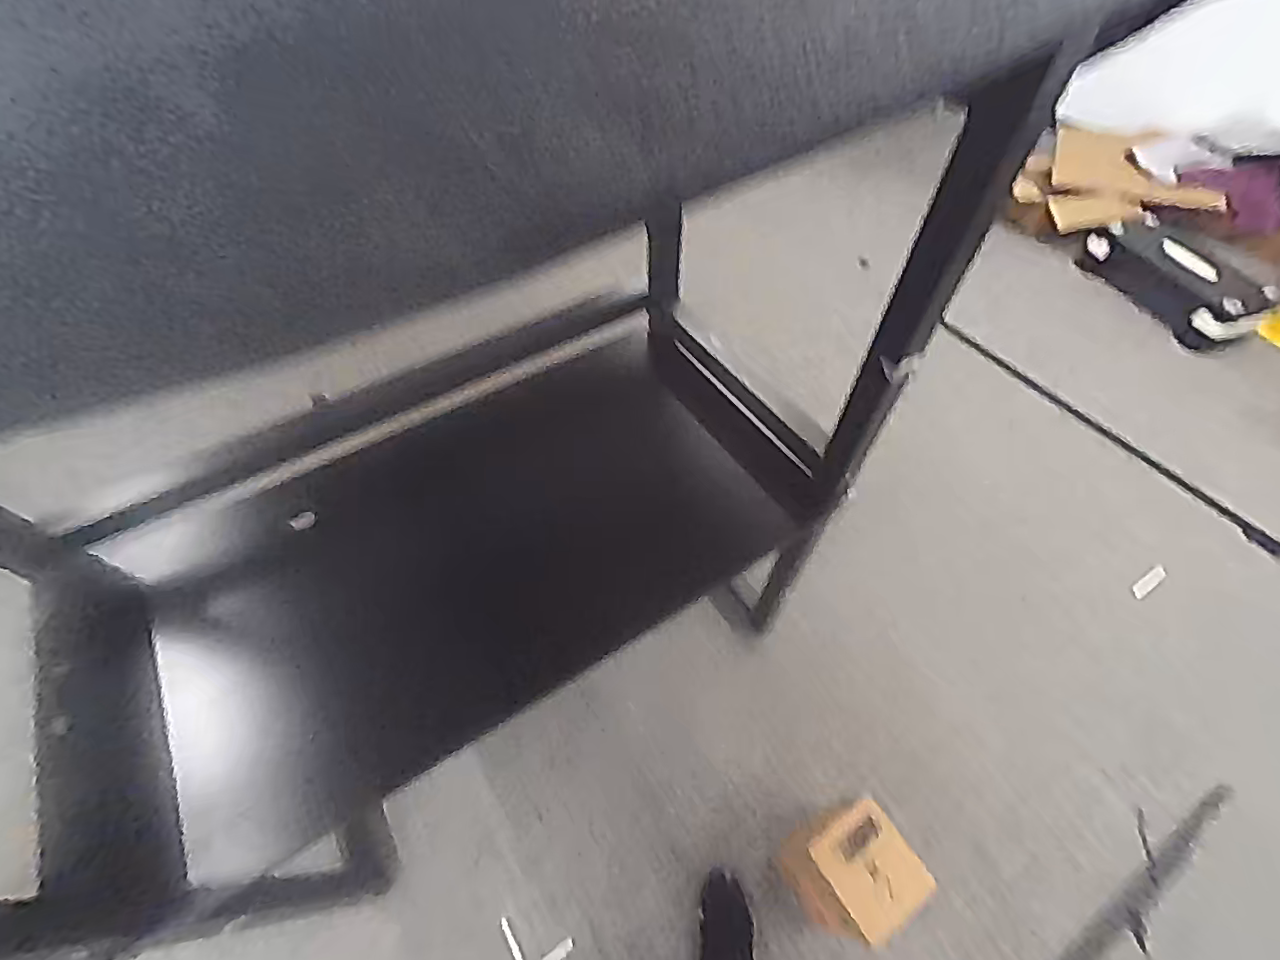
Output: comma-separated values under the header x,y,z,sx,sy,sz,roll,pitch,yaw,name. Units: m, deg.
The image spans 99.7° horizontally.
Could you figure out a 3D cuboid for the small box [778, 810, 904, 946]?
x,y,z,sx,sy,sz,roll,pitch,yaw,name
0.426,0.855,1.178,0.179,0.176,0.168,-30,60,-17,small box
